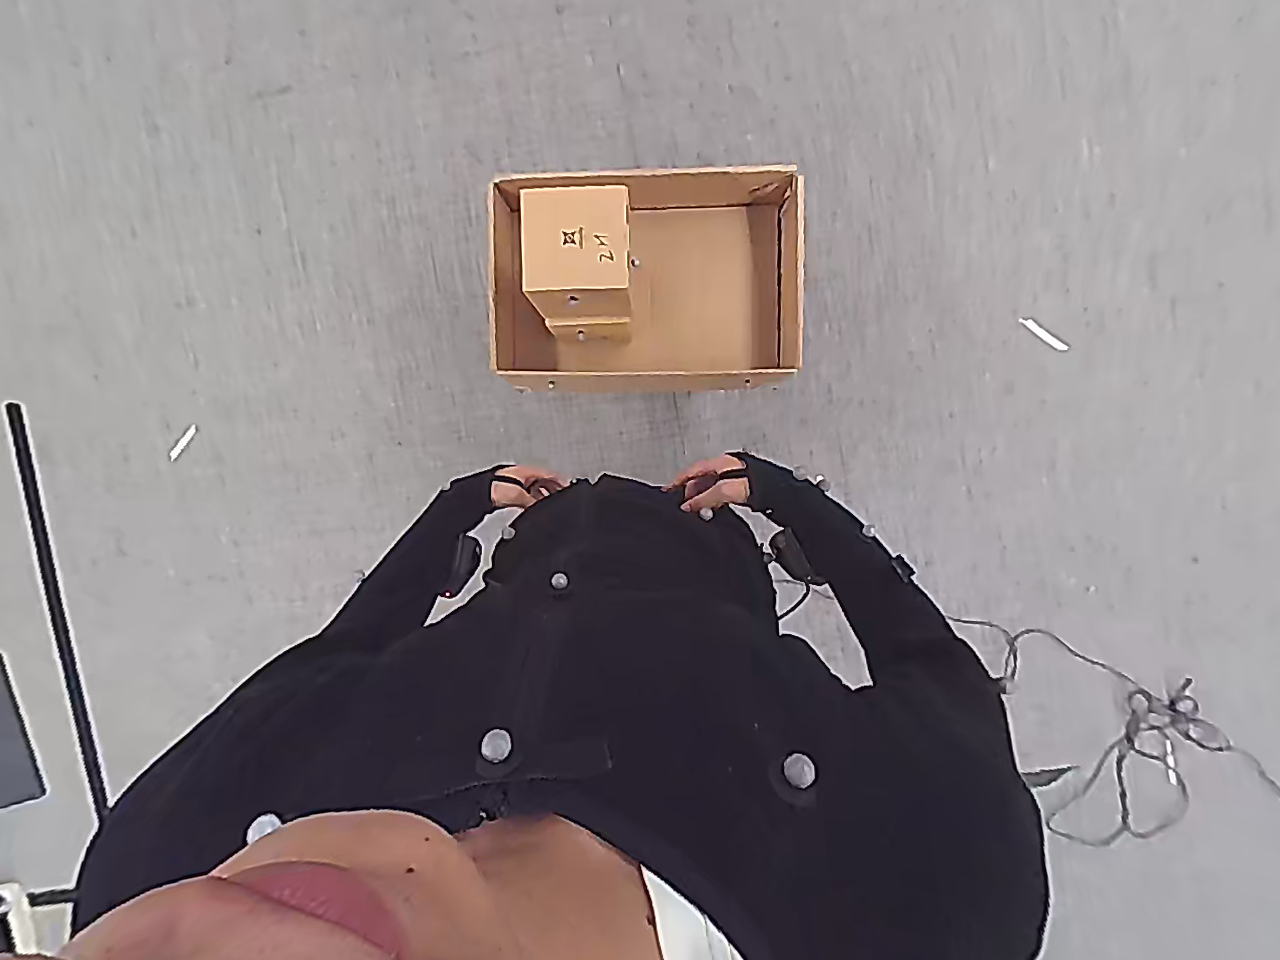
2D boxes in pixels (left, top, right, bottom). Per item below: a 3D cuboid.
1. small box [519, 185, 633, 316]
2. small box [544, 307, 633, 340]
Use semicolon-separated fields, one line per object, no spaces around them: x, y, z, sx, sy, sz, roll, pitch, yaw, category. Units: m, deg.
-0.104;-0.390;0.942;0.179;0.176;0.168;0;92;1;small box
-0.101;-0.389;1.107;0.168;0.176;0.179;-2;92;1;small box
